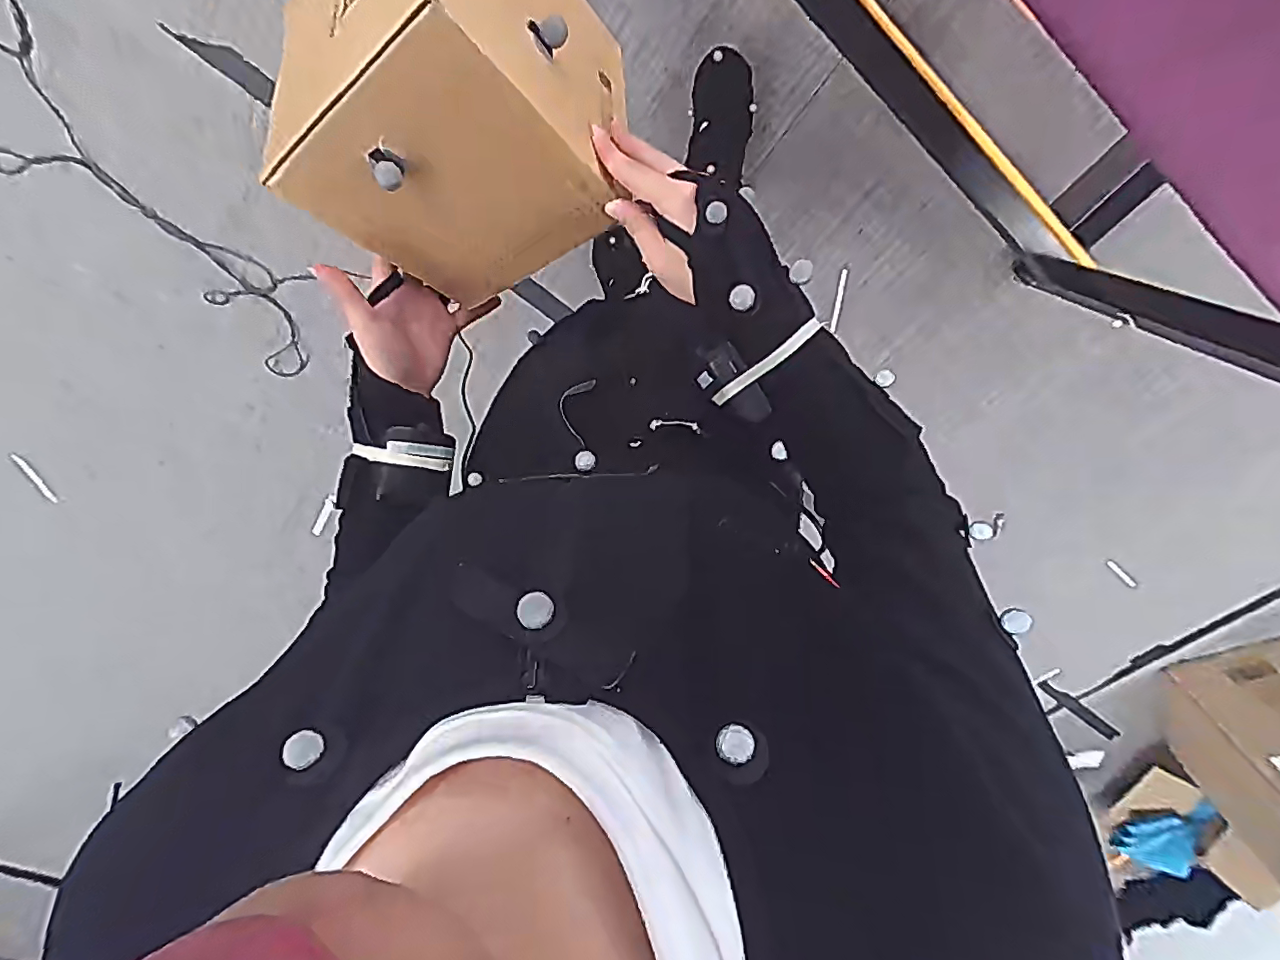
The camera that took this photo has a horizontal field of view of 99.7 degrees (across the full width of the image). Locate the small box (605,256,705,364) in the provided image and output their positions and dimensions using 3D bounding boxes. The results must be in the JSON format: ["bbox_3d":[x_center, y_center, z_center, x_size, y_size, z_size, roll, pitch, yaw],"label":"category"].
[{"bbox_3d":[0.031,-0.354,1.127,0.179,0.176,0.168,-11,118,7],"label":"small box"}]

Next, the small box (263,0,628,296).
[{"bbox_3d":[-0.120,-0.263,0.374,0.179,0.168,0.176,-16,159,32],"label":"small box"}]
